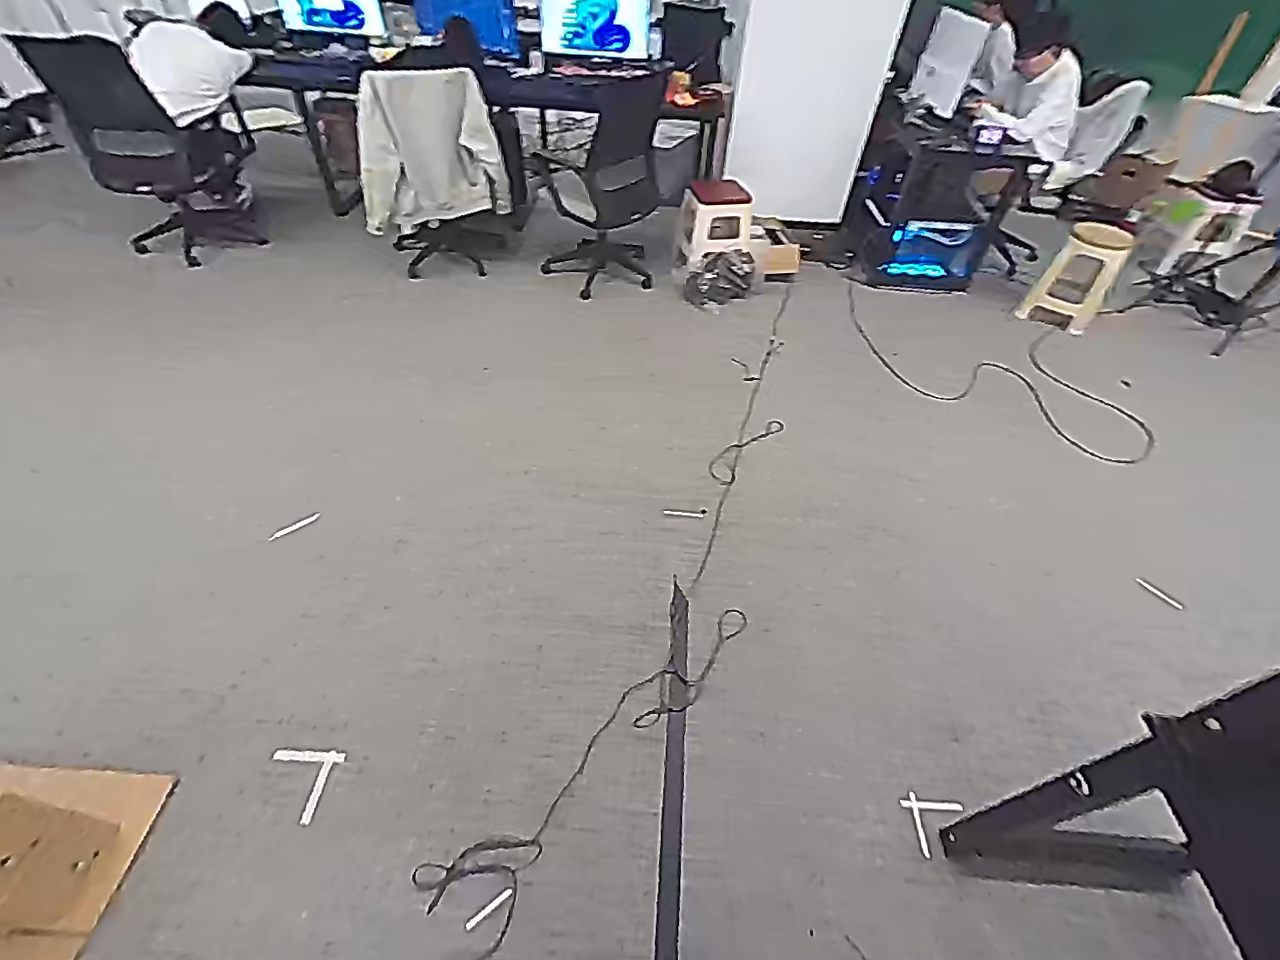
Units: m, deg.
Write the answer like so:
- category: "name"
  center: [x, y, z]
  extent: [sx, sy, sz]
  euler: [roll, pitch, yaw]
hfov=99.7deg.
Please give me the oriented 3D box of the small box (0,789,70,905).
- category: "small box"
  center: [-1.250, 0.674, 0.998]
  extent: [0.179, 0.176, 0.168]
  euler: [8, 47, 2]
